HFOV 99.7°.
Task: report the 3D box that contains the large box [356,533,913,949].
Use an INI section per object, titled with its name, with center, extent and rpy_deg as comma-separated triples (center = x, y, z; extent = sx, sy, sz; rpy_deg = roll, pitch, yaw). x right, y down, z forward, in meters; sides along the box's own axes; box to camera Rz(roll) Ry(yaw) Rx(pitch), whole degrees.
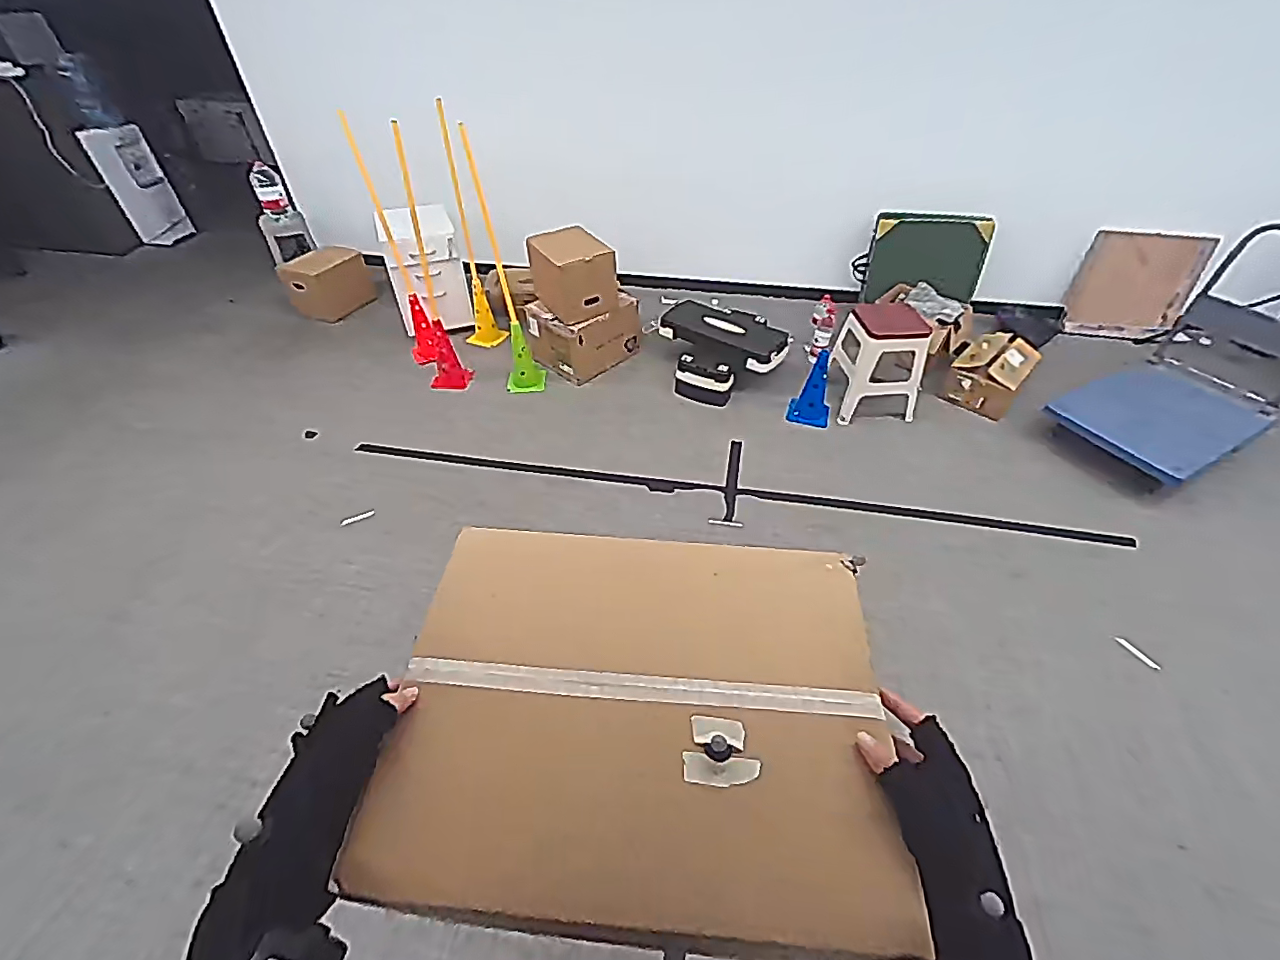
[large box]
center = 0.001, 0.282, 0.586
extent = 0.408, 0.320, 0.320
rpy_deg = 4, 48, 3
